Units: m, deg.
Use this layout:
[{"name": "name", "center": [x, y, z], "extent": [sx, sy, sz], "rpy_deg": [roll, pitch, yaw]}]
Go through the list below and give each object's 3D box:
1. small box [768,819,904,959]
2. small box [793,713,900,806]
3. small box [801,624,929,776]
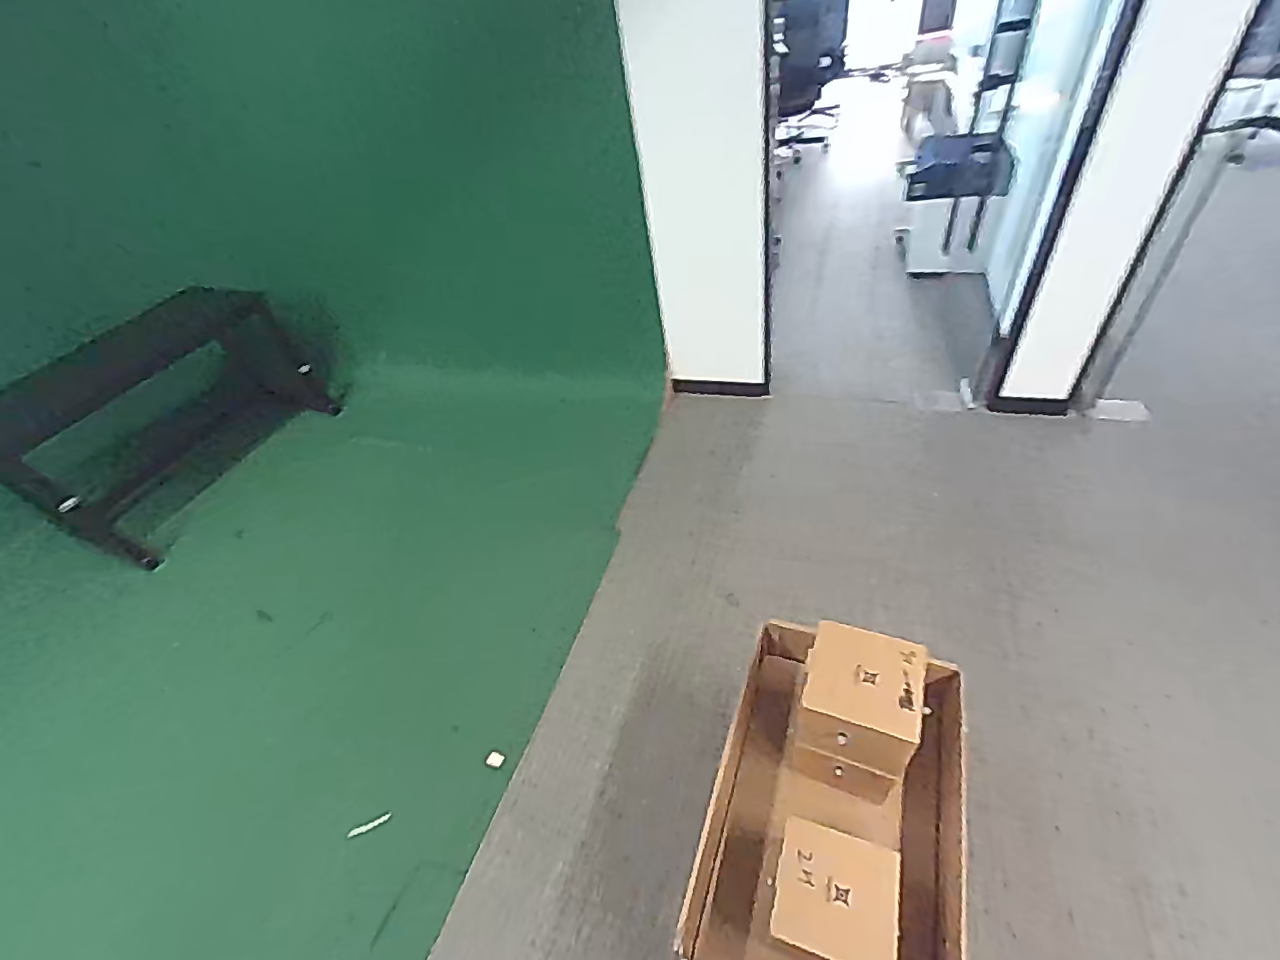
[{"name": "small box", "center": [0.310, 0.684, 0.867], "extent": [0.179, 0.176, 0.168], "rpy_deg": [9, 46, 20]}, {"name": "small box", "center": [0.402, 0.498, 1.046], "extent": [0.179, 0.176, 0.168], "rpy_deg": [13, 49, 22]}, {"name": "small box", "center": [0.381, 0.380, 0.934], "extent": [0.179, 0.176, 0.168], "rpy_deg": [11, 50, 23]}]
